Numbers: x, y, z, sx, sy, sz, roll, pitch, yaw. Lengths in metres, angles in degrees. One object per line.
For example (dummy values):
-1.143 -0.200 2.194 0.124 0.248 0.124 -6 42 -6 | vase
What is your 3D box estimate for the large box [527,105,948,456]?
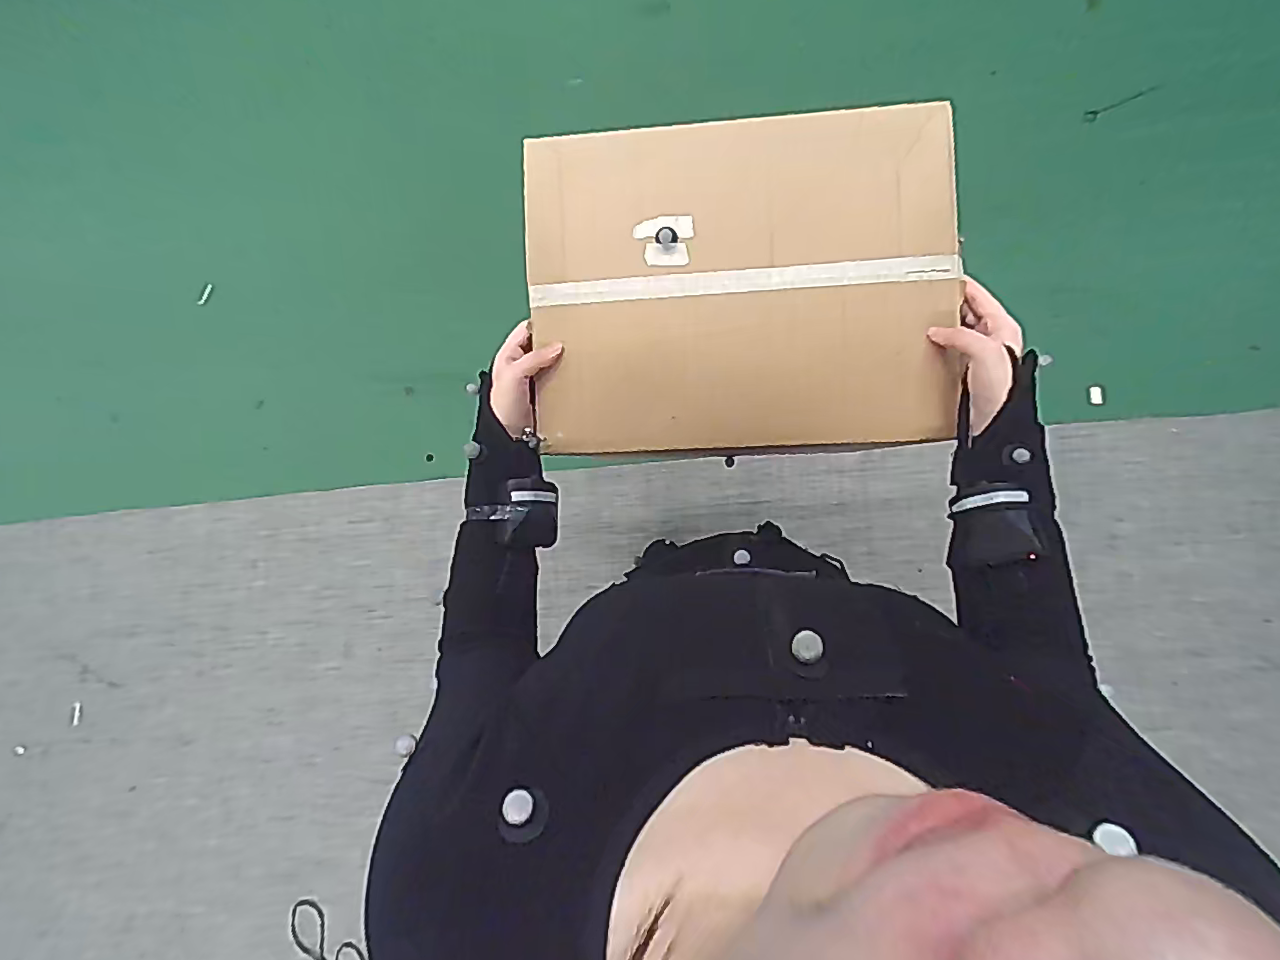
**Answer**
0.107 -0.194 0.679 0.408 0.320 0.320 -2 91 7 | large box
